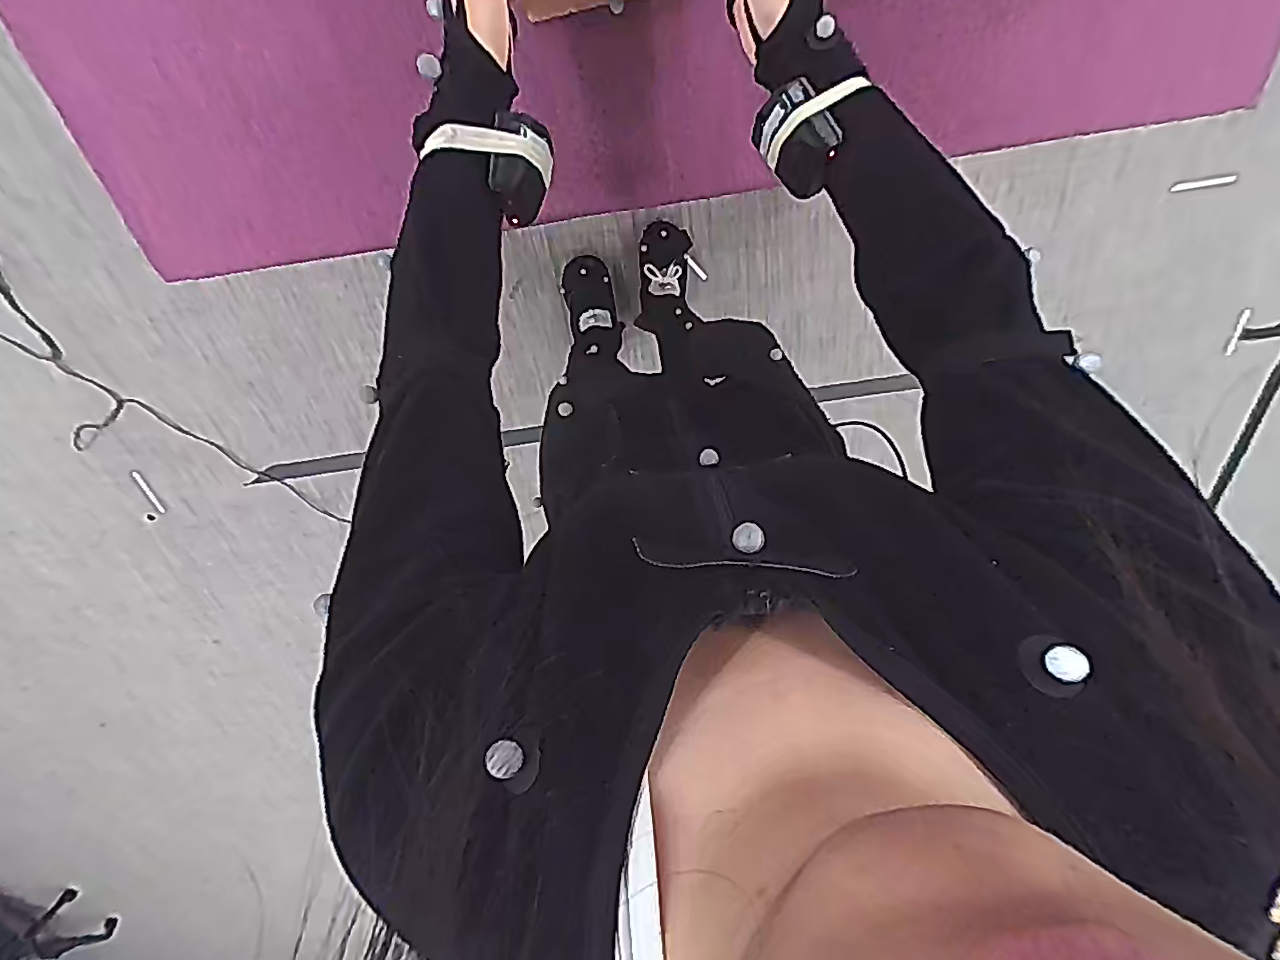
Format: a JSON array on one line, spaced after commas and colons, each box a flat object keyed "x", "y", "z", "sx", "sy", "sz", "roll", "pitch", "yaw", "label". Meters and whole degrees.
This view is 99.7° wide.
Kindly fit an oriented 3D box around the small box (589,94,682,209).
[{"x": -0.012, "y": -0.675, "z": 1.119, "sx": 0.168, "sy": 0.176, "sz": 0.179, "roll": -9, "pitch": 123, "yaw": 1, "label": "small box"}]

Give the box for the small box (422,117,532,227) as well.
[{"x": -0.326, "y": -0.632, "z": 1.117, "sx": 0.168, "sy": 0.176, "sz": 0.179, "roll": -7, "pitch": 121, "yaw": -1, "label": "small box"}]

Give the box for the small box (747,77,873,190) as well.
[{"x": 0.342, "y": -0.718, "z": 1.126, "sx": 0.179, "sy": 0.176, "sz": 0.168, "roll": 6, "pitch": 121, "yaw": -8, "label": "small box"}]
